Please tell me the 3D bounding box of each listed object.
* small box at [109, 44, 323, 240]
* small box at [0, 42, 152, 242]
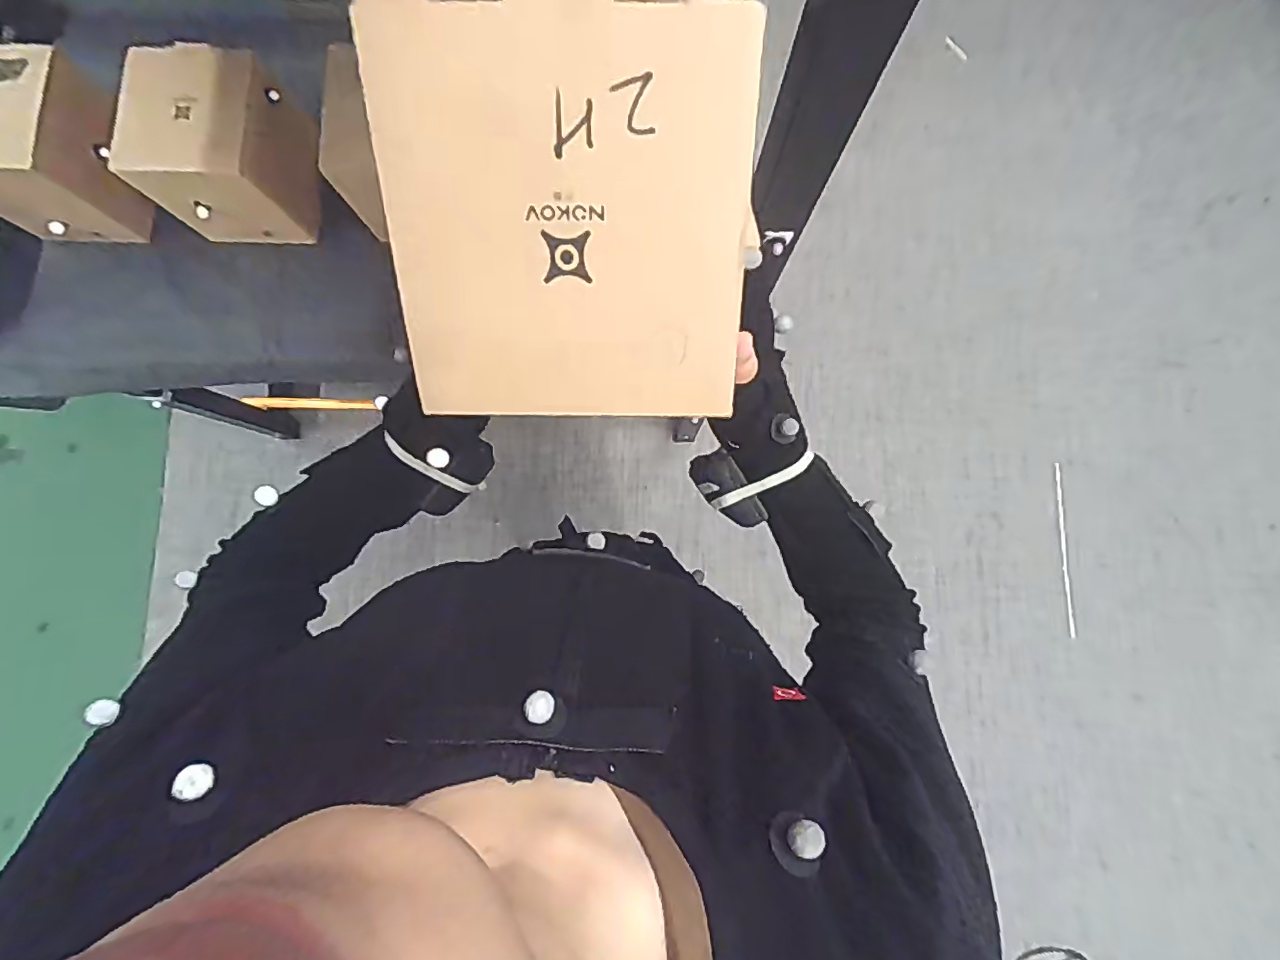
[{"bbox_3d":[-0.578,-0.461,0.762,0.168,0.176,0.179,1,83,0],"label":"small box"},{"bbox_3d":[-0.831,-0.464,0.758,0.168,0.176,0.179,1,84,0],"label":"small box"}]
